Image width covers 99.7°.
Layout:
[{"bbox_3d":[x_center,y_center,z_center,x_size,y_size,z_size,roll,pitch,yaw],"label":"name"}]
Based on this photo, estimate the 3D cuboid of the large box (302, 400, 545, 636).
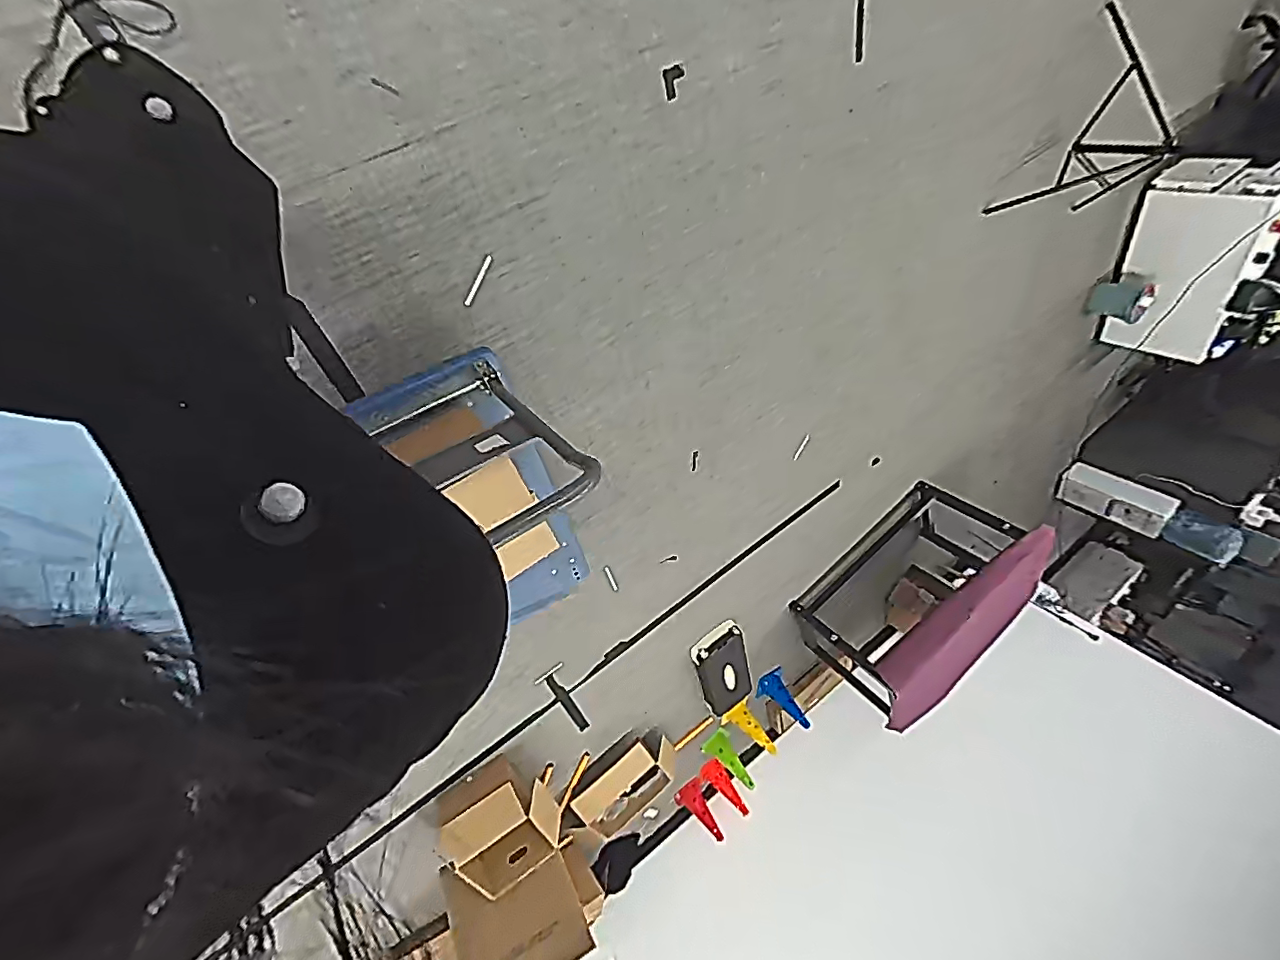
[{"bbox_3d":[-0.508,0.075,1.287,0.408,0.320,0.320,-33,131,-15],"label":"large box"}]
